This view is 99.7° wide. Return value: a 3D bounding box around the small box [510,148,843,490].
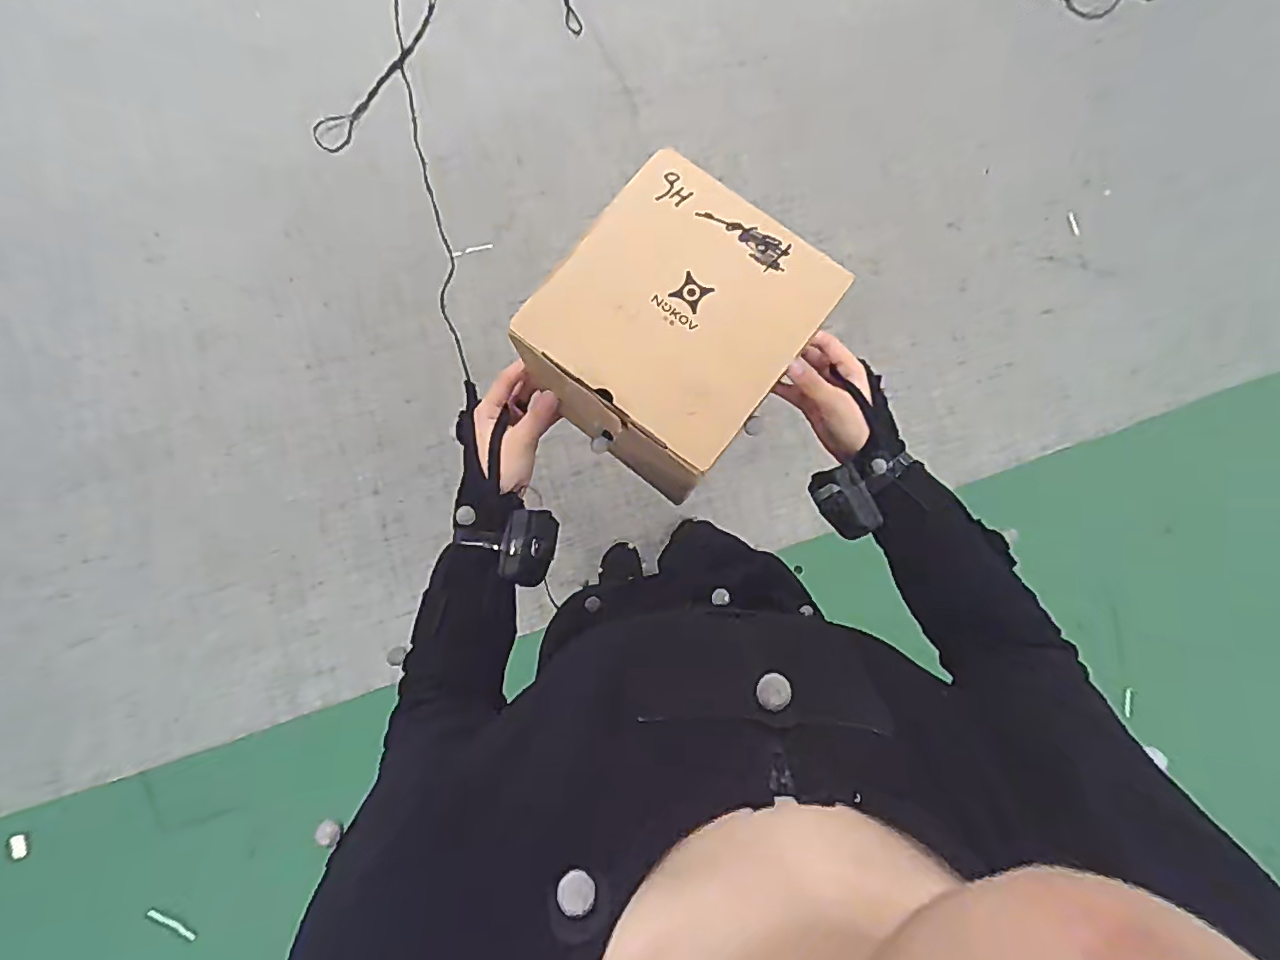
[{"bbox_3d":[0.027,-0.111,0.447,0.168,0.176,0.179,37,83,6],"label":"small box"}]
